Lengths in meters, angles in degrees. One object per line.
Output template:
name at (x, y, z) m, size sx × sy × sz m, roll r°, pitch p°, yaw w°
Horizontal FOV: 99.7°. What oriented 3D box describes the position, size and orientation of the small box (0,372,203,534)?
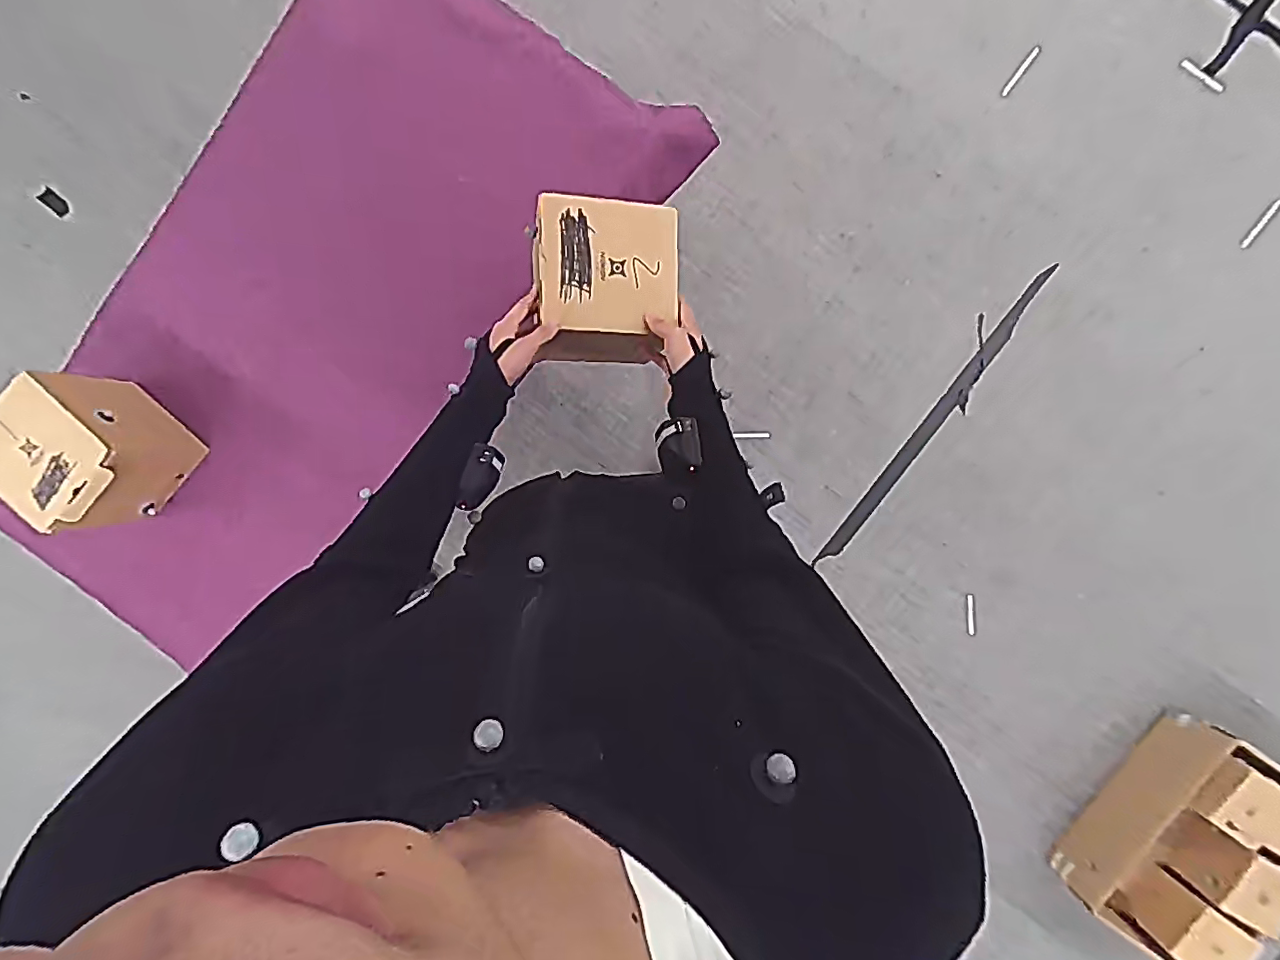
small box at (-0.853, -0.044, 0.845) m, size 0.179 × 0.176 × 0.168 m, roll 42°, pitch 94°, yaw -1°
